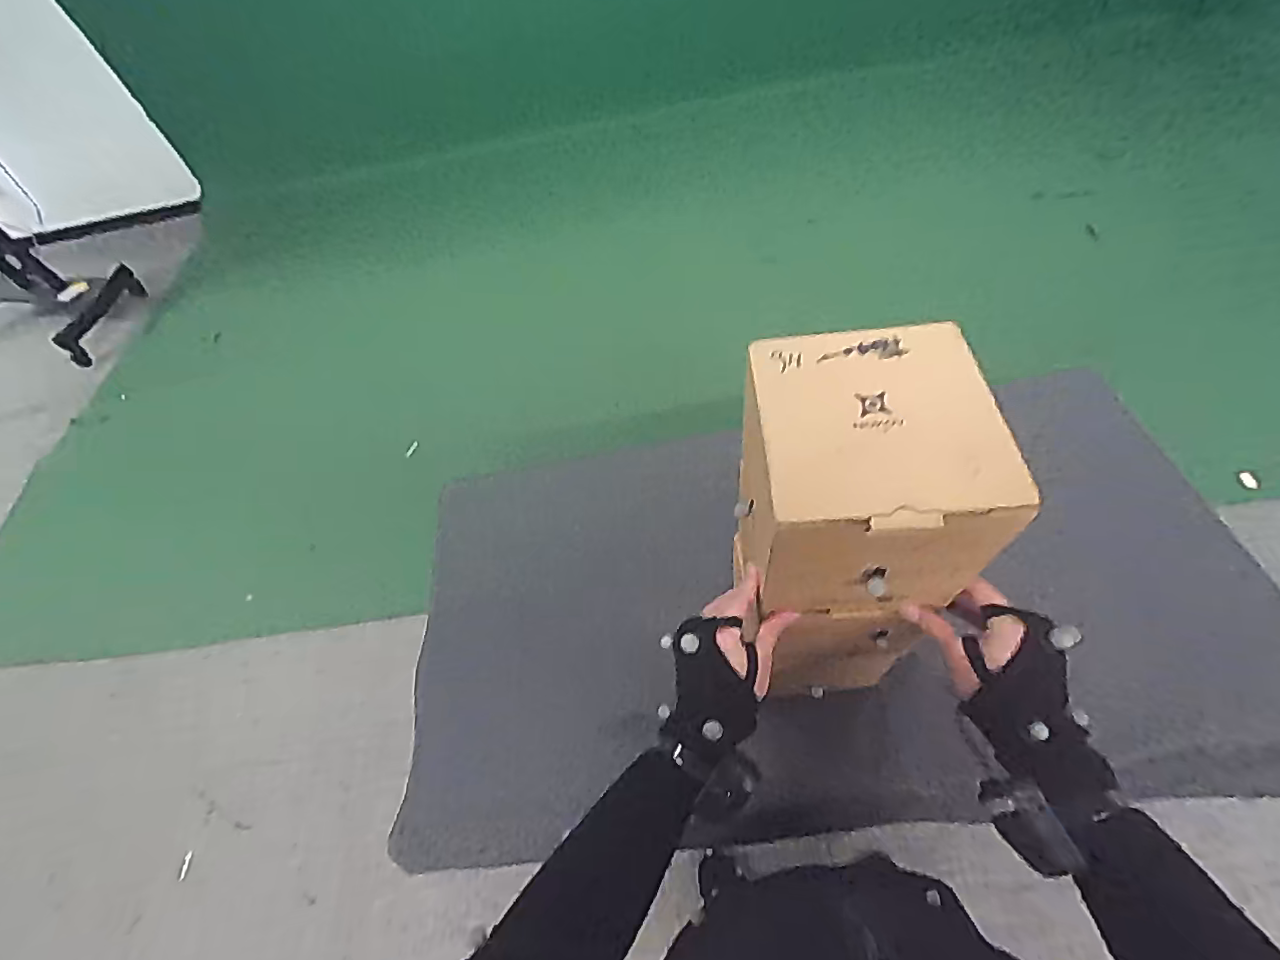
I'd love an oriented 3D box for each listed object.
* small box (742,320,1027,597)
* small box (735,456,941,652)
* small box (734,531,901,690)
[{"bbox_3d":[0.177,-0.006,0.459,0.168,0.176,0.179,-4,58,6],"label":"small box"},{"bbox_3d":[0.197,0.083,0.595,0.168,0.176,0.179,-5,56,6],"label":"small box"},{"bbox_3d":[0.221,0.169,0.730,0.168,0.176,0.179,-9,57,5],"label":"small box"}]
